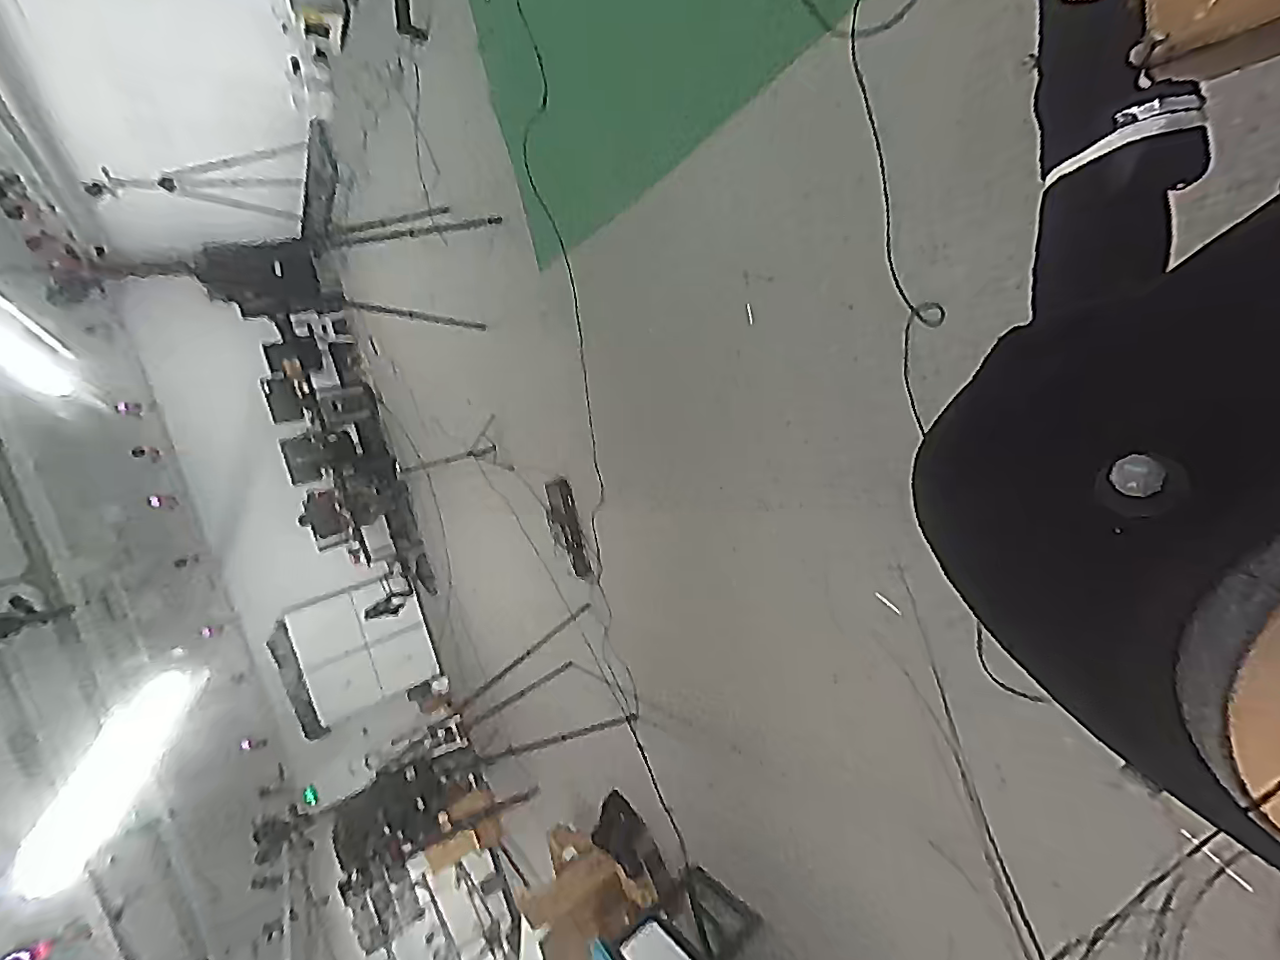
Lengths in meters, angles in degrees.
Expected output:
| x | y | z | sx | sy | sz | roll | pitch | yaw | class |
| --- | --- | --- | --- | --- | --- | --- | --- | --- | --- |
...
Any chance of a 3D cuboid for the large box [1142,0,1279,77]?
| x | y | z | sx | sy | sz | roll | pitch | yaw | class |
| --- | --- | --- | --- | --- | --- | --- | --- | --- | --- |
| 0.562 | -0.501 | 0.299 | 0.408 | 0.320 | 0.320 | 2 | 115 | 46 | large box |
